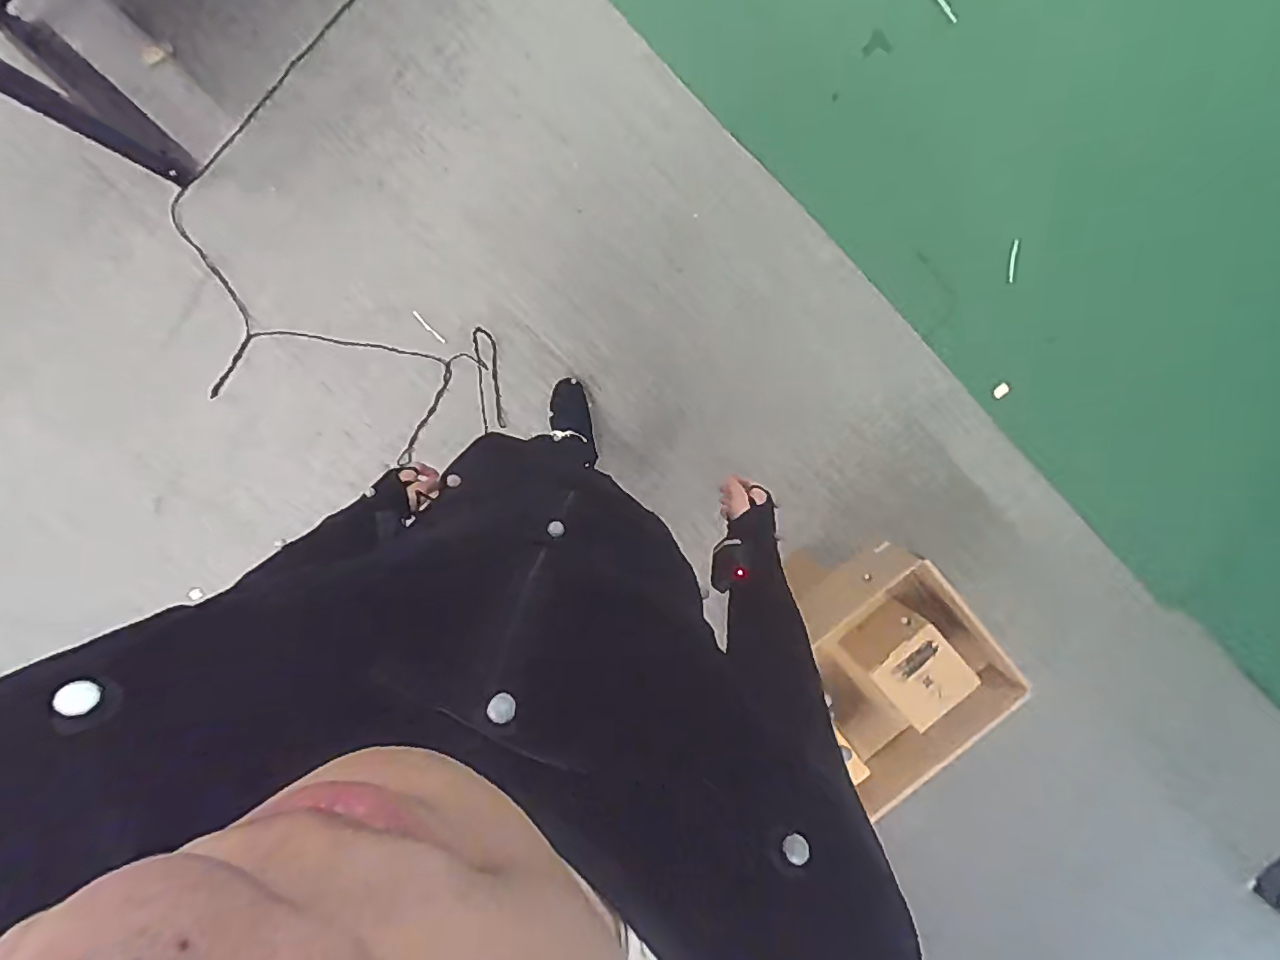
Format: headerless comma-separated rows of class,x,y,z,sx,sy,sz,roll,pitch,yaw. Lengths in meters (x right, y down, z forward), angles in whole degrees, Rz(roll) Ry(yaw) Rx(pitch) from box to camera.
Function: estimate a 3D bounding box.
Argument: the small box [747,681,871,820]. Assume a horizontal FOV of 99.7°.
small box,0.361,0.583,1.189,0.168,0.176,0.179,-39,95,3
